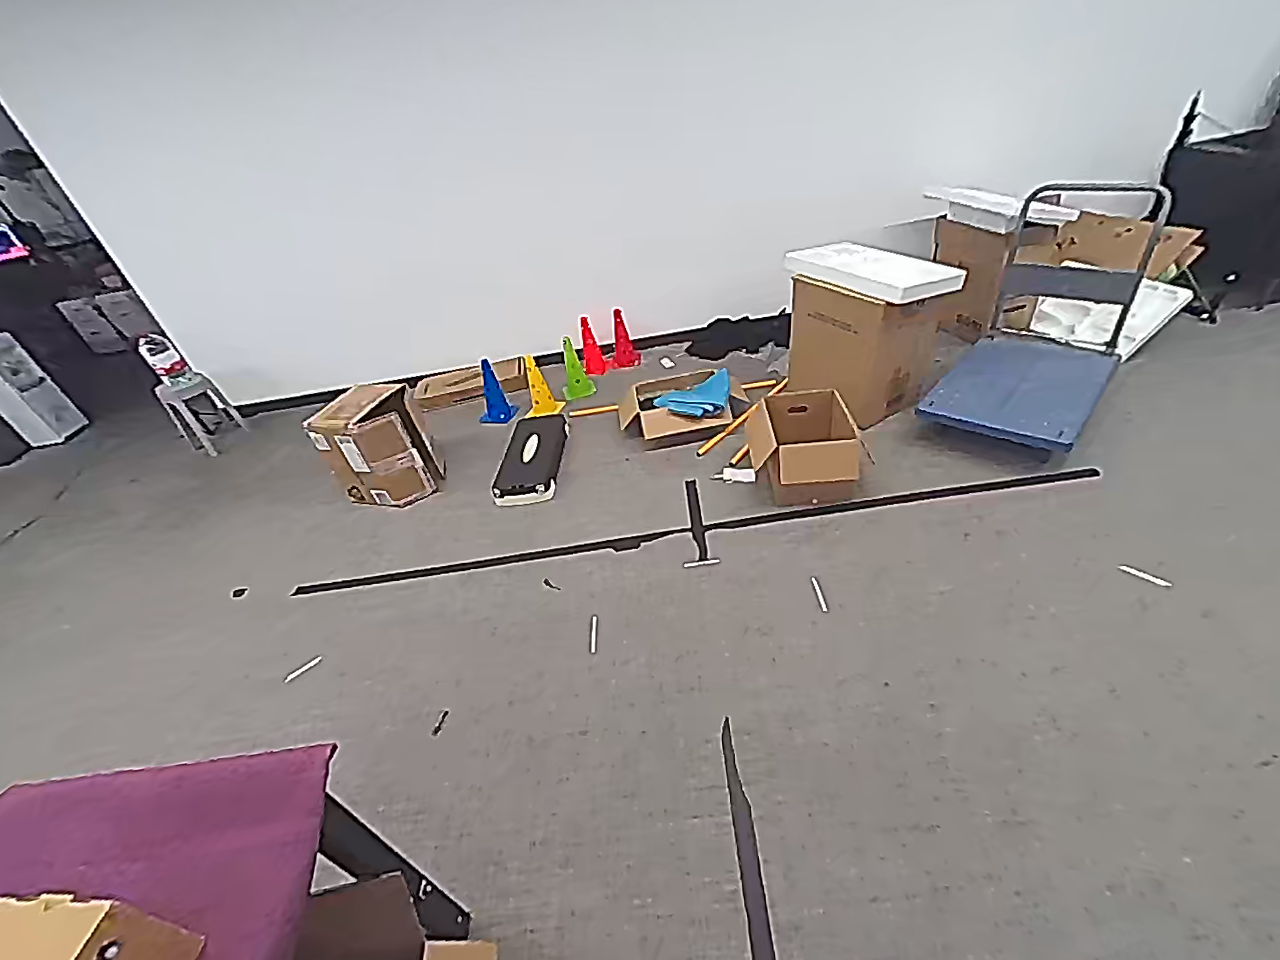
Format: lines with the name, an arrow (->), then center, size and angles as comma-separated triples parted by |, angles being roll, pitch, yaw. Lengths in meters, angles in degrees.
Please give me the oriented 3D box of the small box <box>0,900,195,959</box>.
small box -> -0.659, 0.595, 0.595 | 0.168, 0.176, 0.179 | -6, 36, 8
